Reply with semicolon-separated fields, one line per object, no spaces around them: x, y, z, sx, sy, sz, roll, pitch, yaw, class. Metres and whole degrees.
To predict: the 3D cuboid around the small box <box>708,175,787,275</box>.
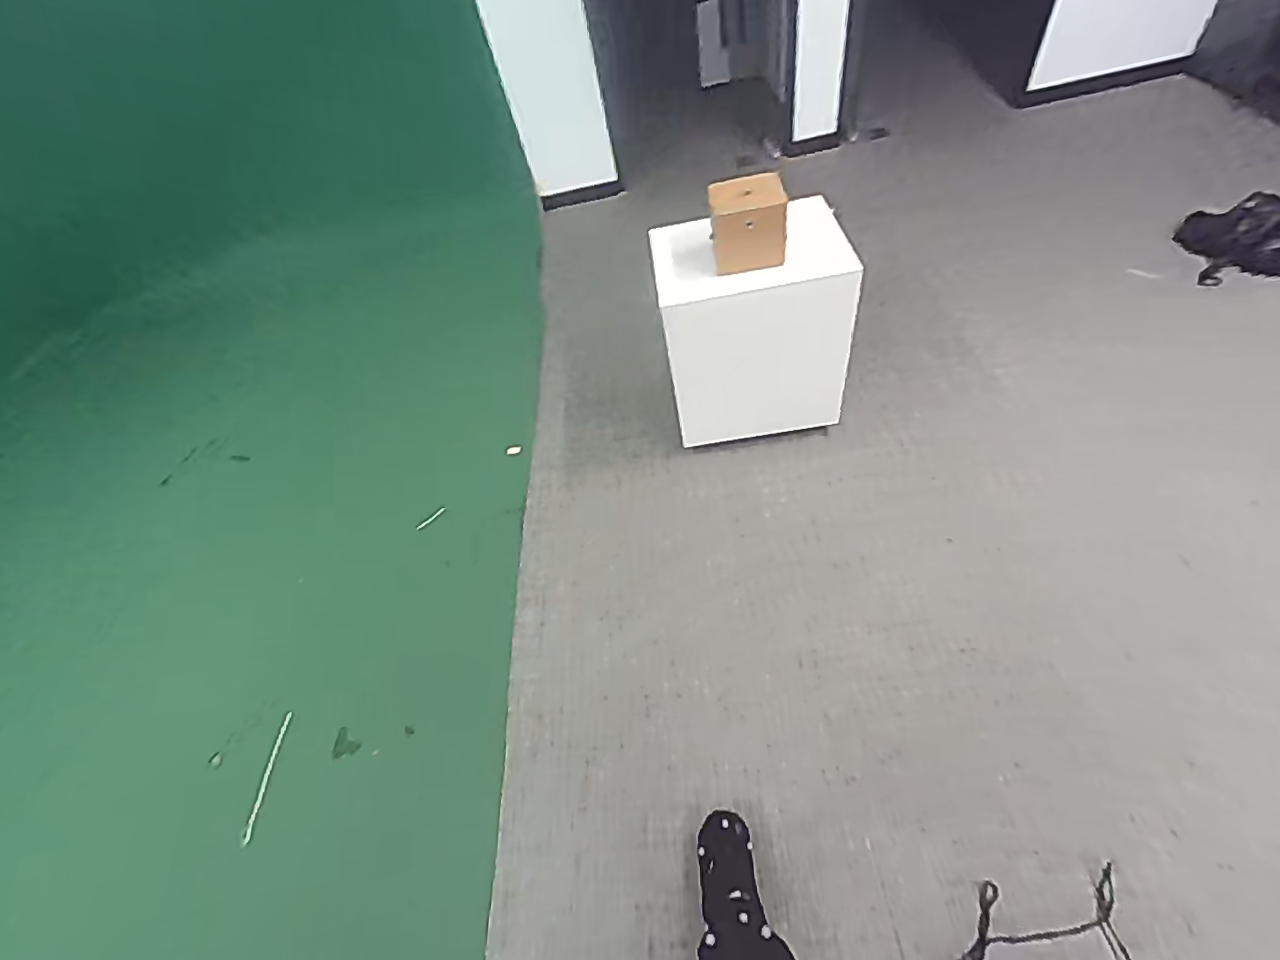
0.277;-0.654;1.400;0.179;0.176;0.168;-7;53;6;small box
